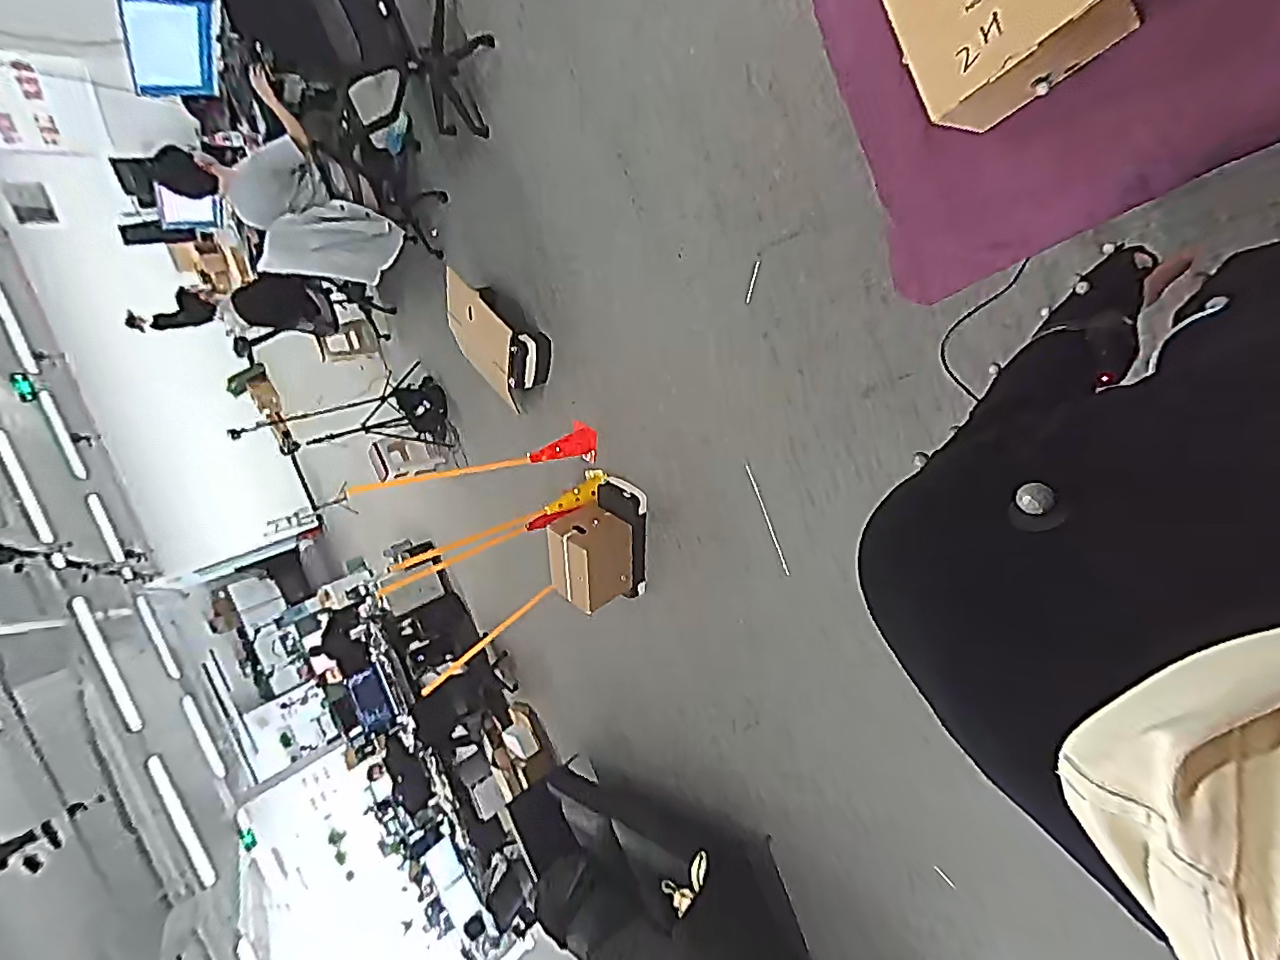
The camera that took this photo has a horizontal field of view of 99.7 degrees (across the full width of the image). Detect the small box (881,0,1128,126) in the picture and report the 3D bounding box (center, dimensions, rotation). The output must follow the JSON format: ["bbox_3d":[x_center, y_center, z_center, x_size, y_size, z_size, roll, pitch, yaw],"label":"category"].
[{"bbox_3d":[0.406,-0.535,0.609,0.168,0.176,0.179,-21,93,53],"label":"small box"}]
